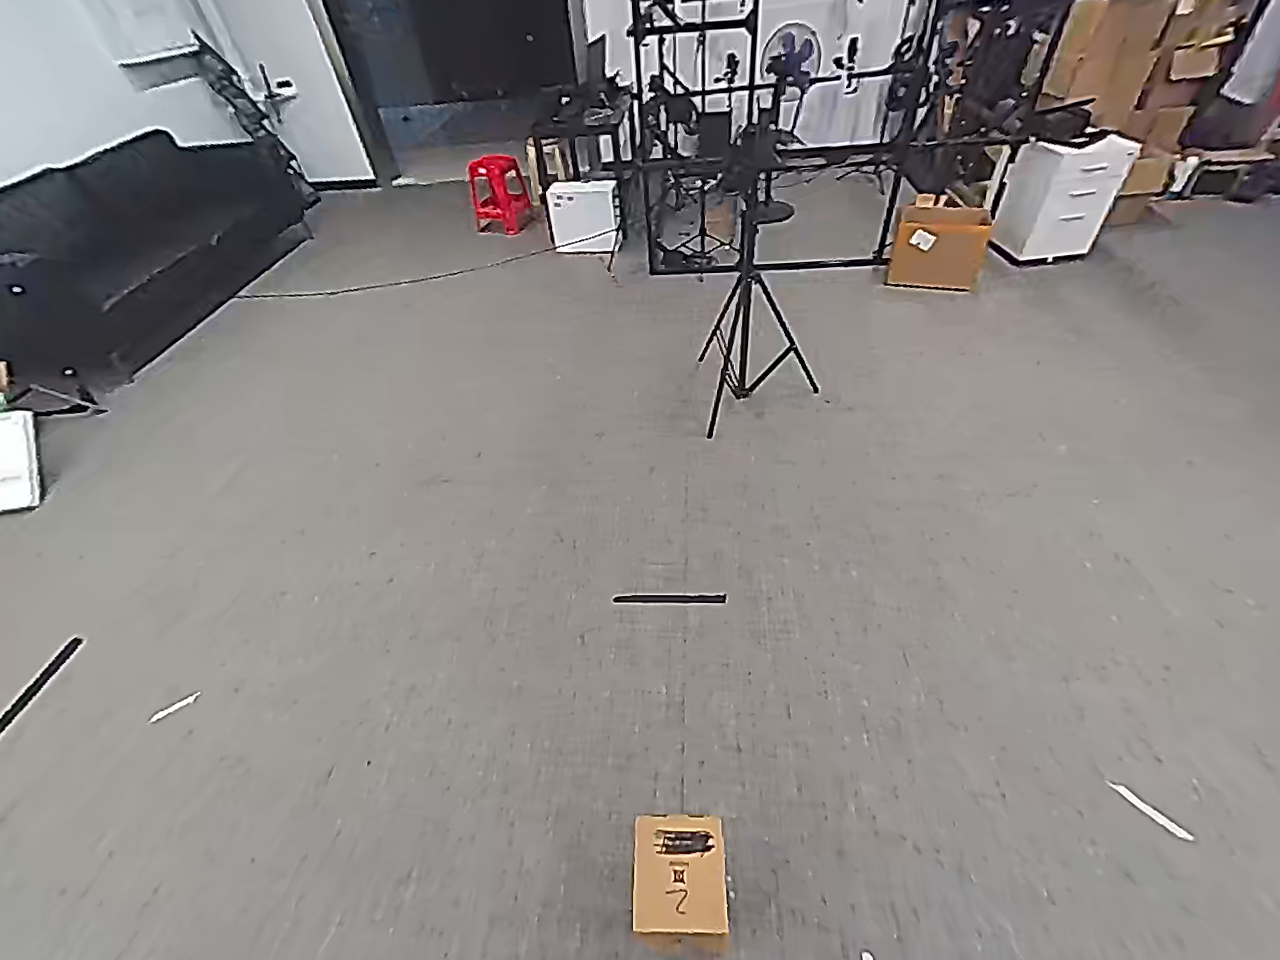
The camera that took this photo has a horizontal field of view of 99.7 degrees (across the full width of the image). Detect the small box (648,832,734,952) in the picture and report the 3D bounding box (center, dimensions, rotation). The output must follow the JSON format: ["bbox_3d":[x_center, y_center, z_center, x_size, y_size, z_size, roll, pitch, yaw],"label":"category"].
[{"bbox_3d":[0.106,0.871,1.144,0.168,0.176,0.179,-1,45,5],"label":"small box"}]
